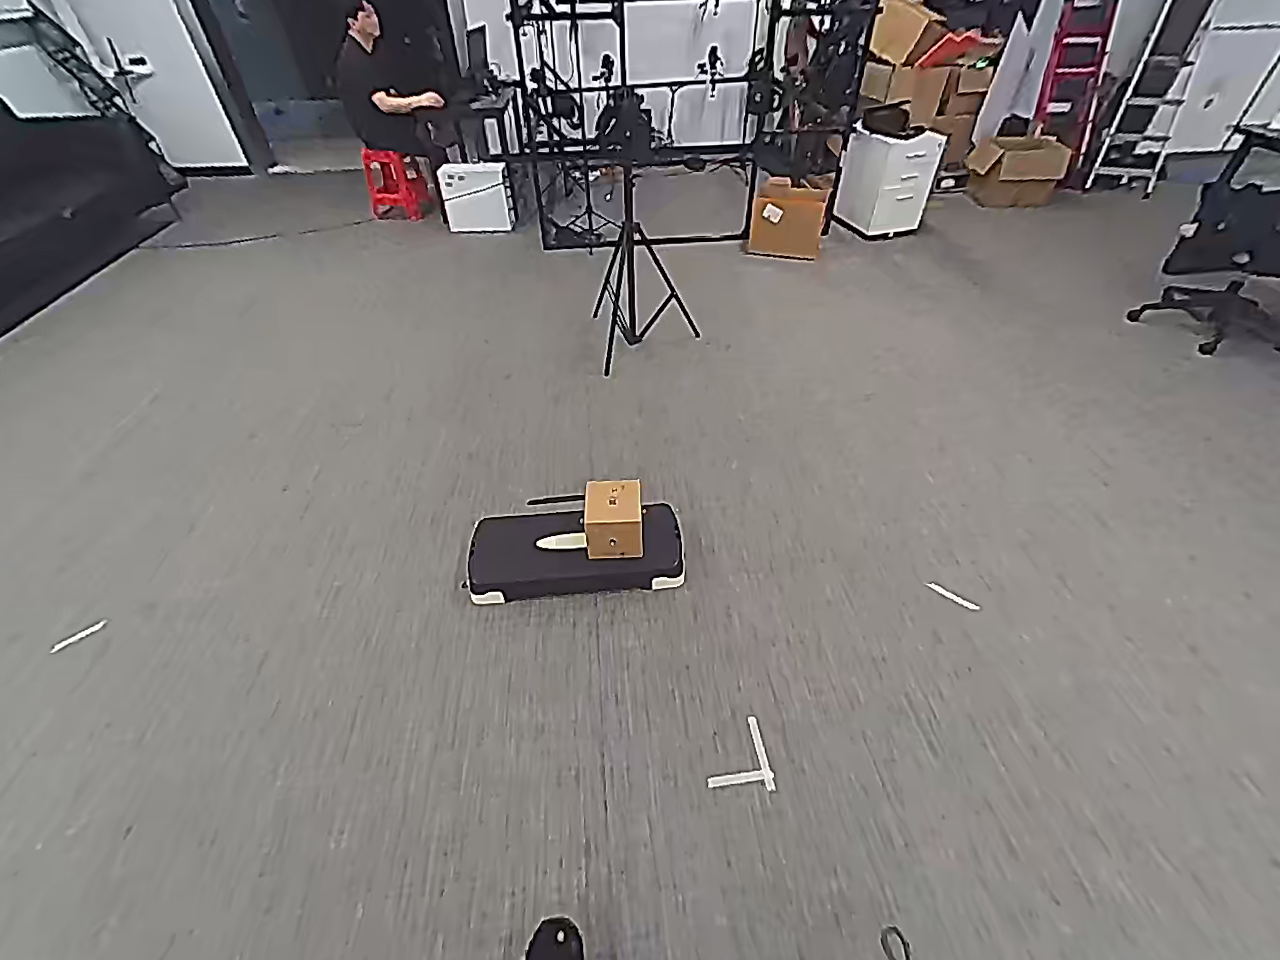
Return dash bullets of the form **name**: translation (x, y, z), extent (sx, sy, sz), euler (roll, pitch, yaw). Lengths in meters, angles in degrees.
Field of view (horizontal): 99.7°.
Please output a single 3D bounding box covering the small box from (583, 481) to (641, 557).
- **small box**: translation (-0.081, 0.123, 1.653), extent (0.168, 0.176, 0.179), euler (-2, 43, -1)
